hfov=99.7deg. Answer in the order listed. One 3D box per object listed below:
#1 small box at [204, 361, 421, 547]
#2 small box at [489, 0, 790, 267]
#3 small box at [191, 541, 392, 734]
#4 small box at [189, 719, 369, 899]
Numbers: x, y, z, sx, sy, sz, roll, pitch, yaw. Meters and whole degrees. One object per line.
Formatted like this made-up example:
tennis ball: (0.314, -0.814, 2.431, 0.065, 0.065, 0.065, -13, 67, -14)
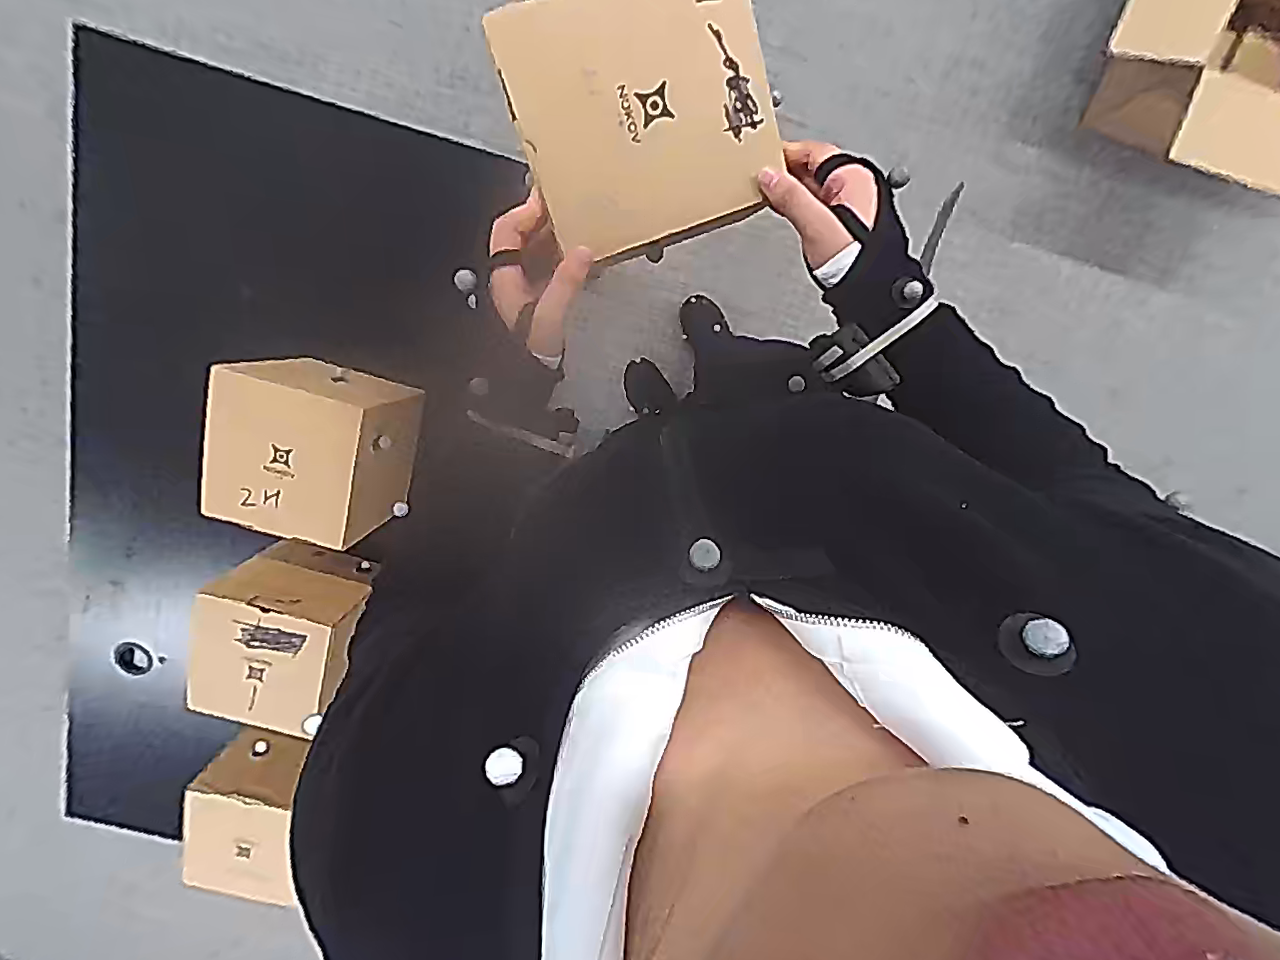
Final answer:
small box: (-0.394, -0.044, 0.677, 0.168, 0.176, 0.179, 15, 105, -2)
small box: (0.005, -0.285, 0.448, 0.179, 0.176, 0.168, -16, 109, 6)
small box: (-0.468, 0.206, 0.748, 0.168, 0.176, 0.179, 17, 106, -3)
small box: (-0.539, 0.481, 0.827, 0.168, 0.176, 0.179, 13, 106, -1)
